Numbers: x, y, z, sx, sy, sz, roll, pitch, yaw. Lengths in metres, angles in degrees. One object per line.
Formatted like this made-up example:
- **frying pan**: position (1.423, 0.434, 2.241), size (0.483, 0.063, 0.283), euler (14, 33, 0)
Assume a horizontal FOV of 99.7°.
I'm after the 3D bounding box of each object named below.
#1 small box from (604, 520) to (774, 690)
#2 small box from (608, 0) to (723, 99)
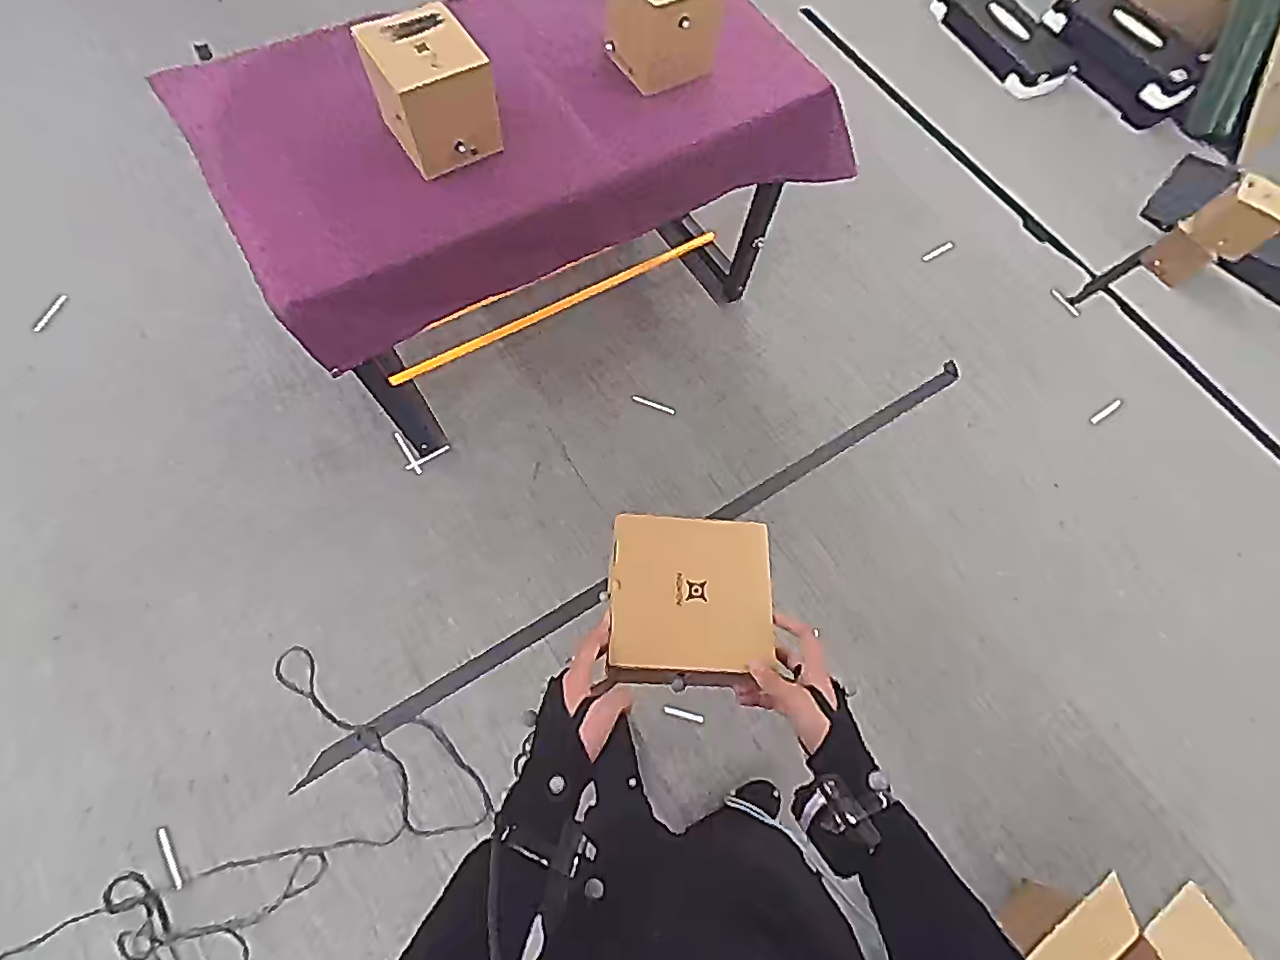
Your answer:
- **small box**: position (0.049, 0.157, 0.650), size (0.179, 0.176, 0.168), euler (3, 65, -2)
- **small box**: position (0.047, -0.920, 1.097), size (0.179, 0.176, 0.168), euler (-31, 75, -15)
